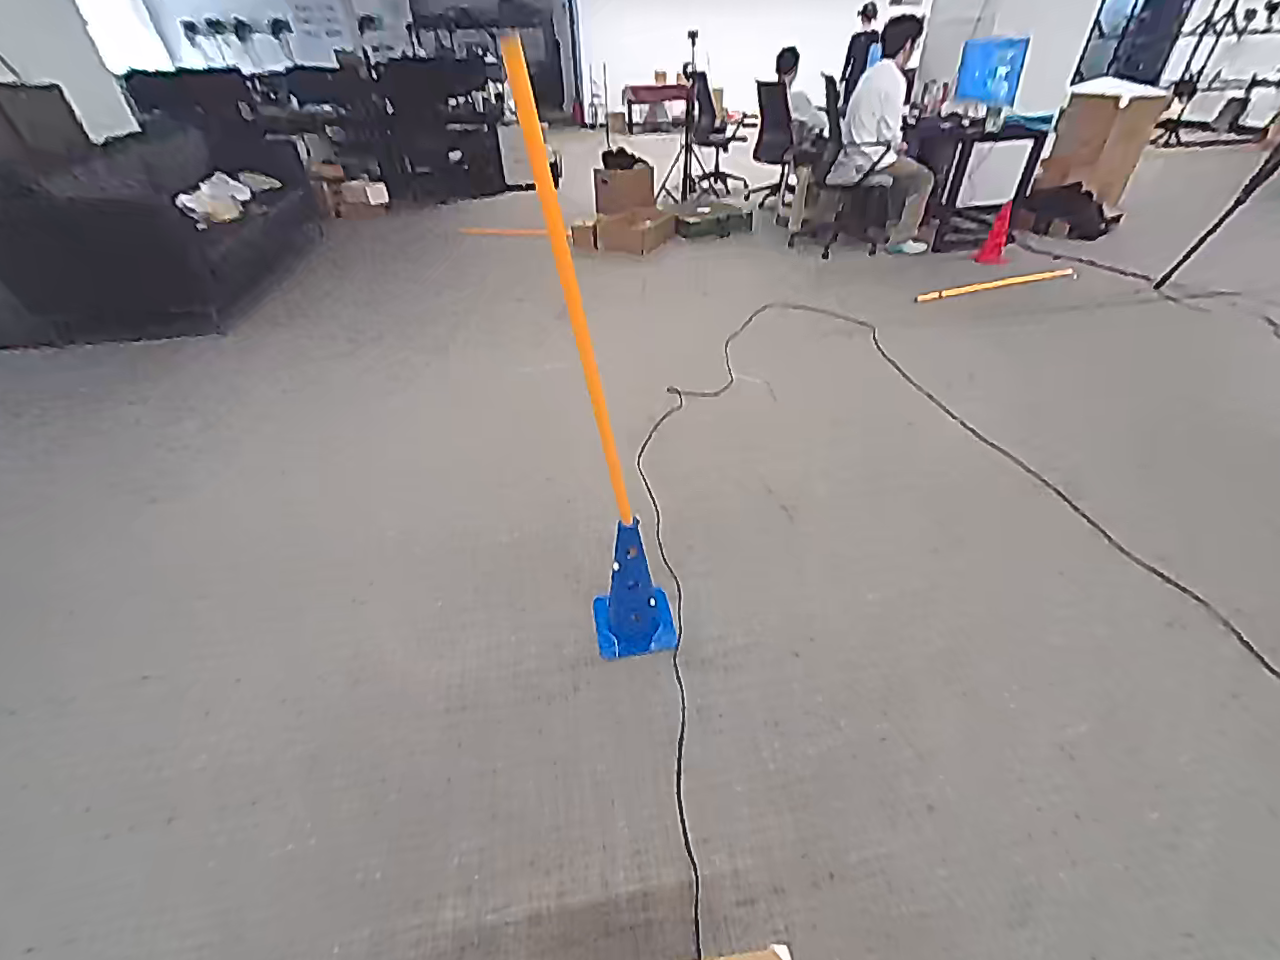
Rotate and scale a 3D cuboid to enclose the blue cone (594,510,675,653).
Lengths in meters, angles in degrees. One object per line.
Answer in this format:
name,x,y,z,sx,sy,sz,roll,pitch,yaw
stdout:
blue cone,-0.022,0.229,1.298,0.193,0.380,0.192,-10,38,-8
